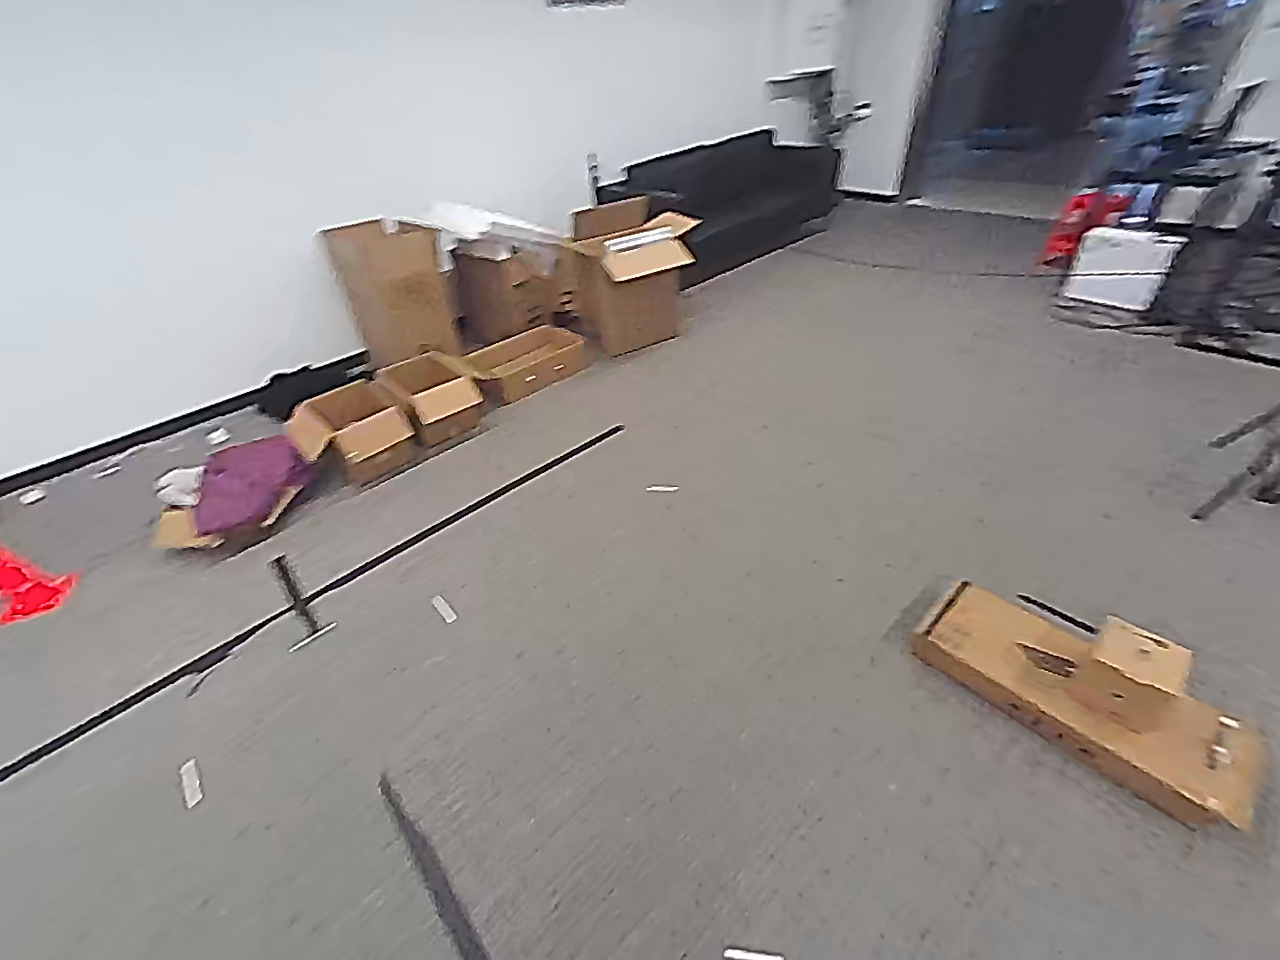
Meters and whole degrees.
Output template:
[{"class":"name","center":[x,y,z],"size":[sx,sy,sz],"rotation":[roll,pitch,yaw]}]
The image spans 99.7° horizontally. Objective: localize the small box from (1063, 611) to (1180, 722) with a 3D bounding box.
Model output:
[{"class":"small box","center":[1.236,0.483,1.399],"size":[0.168,0.176,0.179],"rotation":[29,50,35]}]
